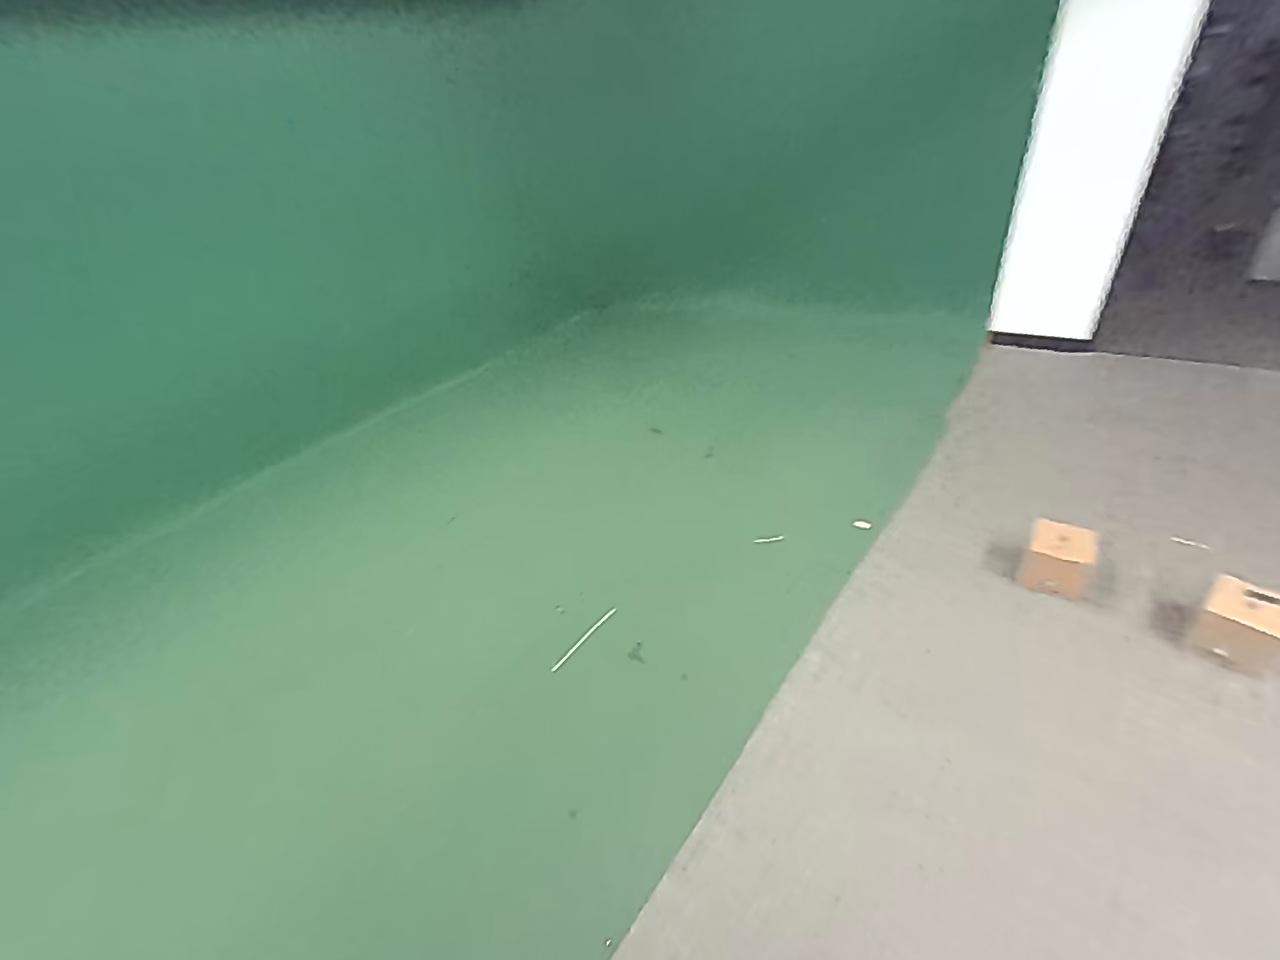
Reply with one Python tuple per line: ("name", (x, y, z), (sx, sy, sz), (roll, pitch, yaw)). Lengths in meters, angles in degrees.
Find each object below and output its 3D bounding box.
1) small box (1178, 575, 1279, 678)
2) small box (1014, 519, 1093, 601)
("small box", (1.650, 0.405, 1.501), (0.179, 0.176, 0.168), (-33, 41, -27))
("small box", (1.354, 0.262, 1.774), (0.168, 0.176, 0.179), (16, 43, 33))
